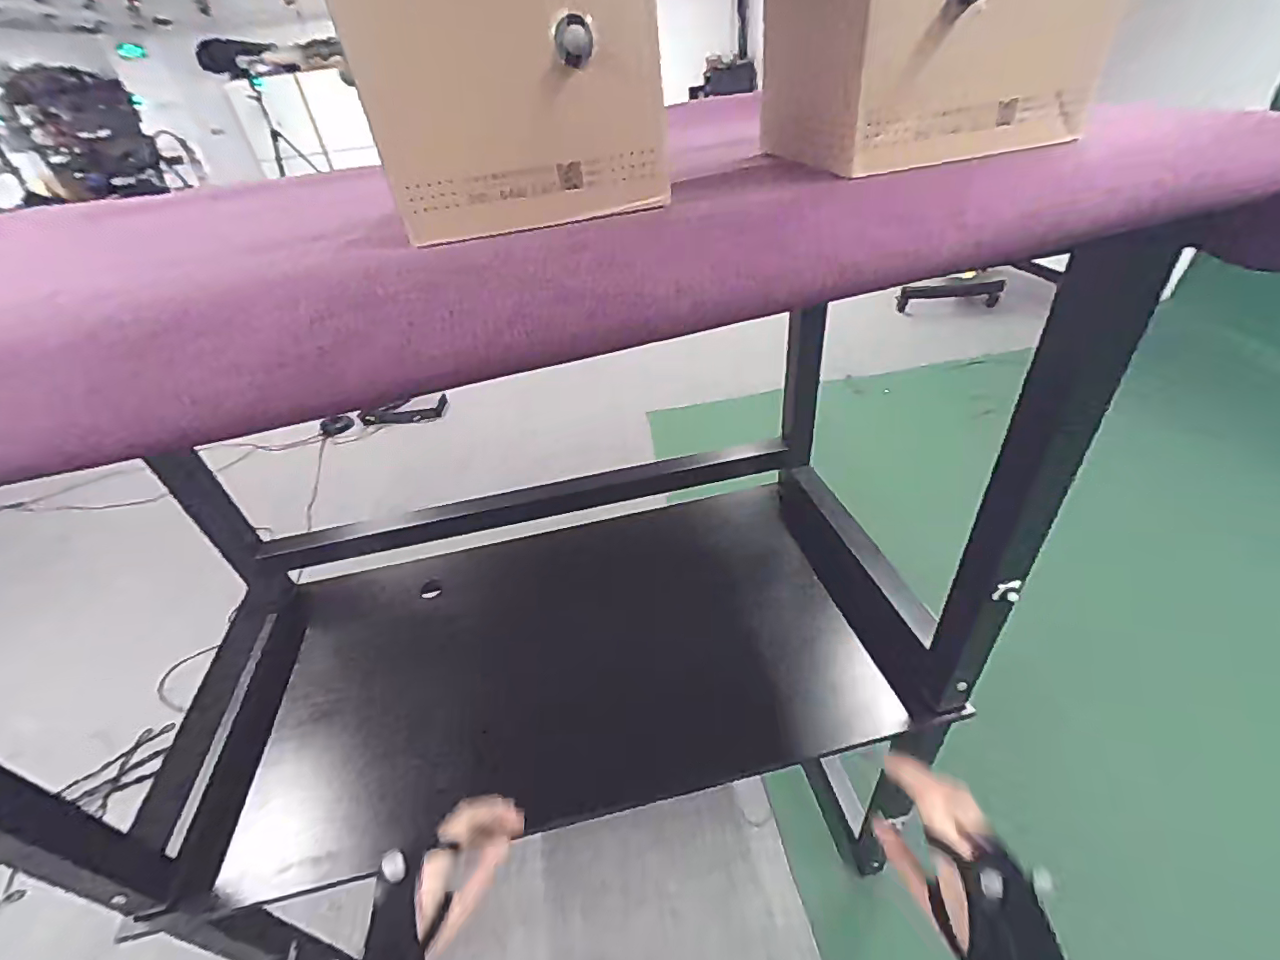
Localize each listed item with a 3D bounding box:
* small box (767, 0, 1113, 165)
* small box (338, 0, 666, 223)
[{"bbox_3d":[0.195,-0.329,0.374,0.168,0.176,0.179,-11,37,-4],"label":"small box"},{"bbox_3d":[-0.082,-0.279,0.358,0.168,0.176,0.179,-10,36,-5],"label":"small box"}]
